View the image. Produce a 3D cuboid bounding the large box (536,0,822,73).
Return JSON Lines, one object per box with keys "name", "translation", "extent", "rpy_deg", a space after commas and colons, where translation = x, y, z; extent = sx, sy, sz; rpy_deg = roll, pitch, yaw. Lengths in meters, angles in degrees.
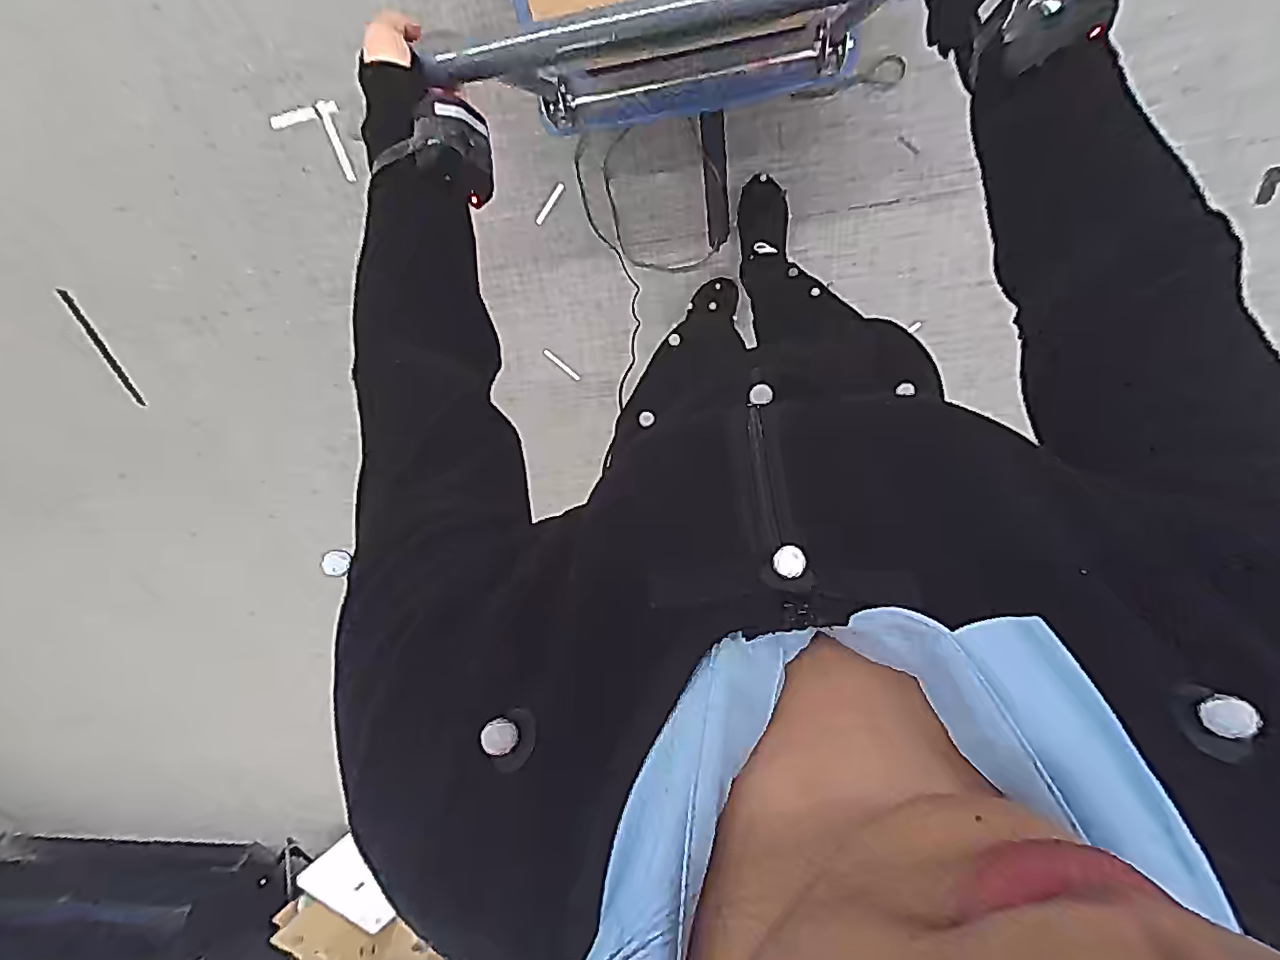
{"name": "large box", "translation": [0.051, -0.810, 0.748], "extent": [0.408, 0.320, 0.320], "rpy_deg": [-5, 122, 10]}
